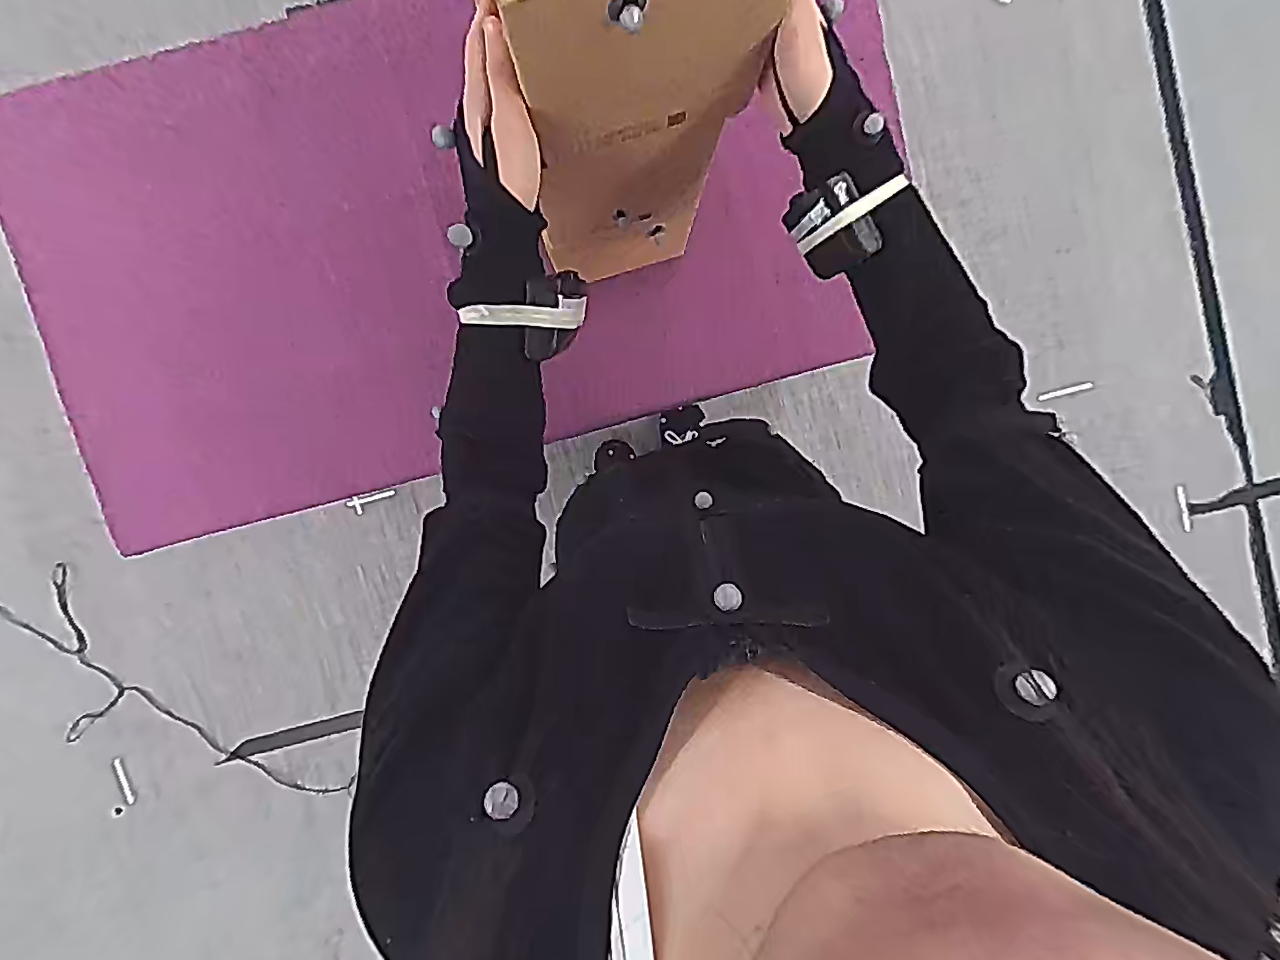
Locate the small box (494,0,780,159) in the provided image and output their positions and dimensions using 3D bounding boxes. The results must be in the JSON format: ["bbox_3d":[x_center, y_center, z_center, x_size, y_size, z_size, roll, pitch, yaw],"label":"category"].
[{"bbox_3d":[-0.018,-0.344,0.332,0.168,0.176,0.179,-17,94,1],"label":"small box"}]

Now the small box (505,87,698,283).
[{"bbox_3d":[-0.043,-0.363,0.660,0.179,0.176,0.168,-16,94,1],"label":"small box"}]
